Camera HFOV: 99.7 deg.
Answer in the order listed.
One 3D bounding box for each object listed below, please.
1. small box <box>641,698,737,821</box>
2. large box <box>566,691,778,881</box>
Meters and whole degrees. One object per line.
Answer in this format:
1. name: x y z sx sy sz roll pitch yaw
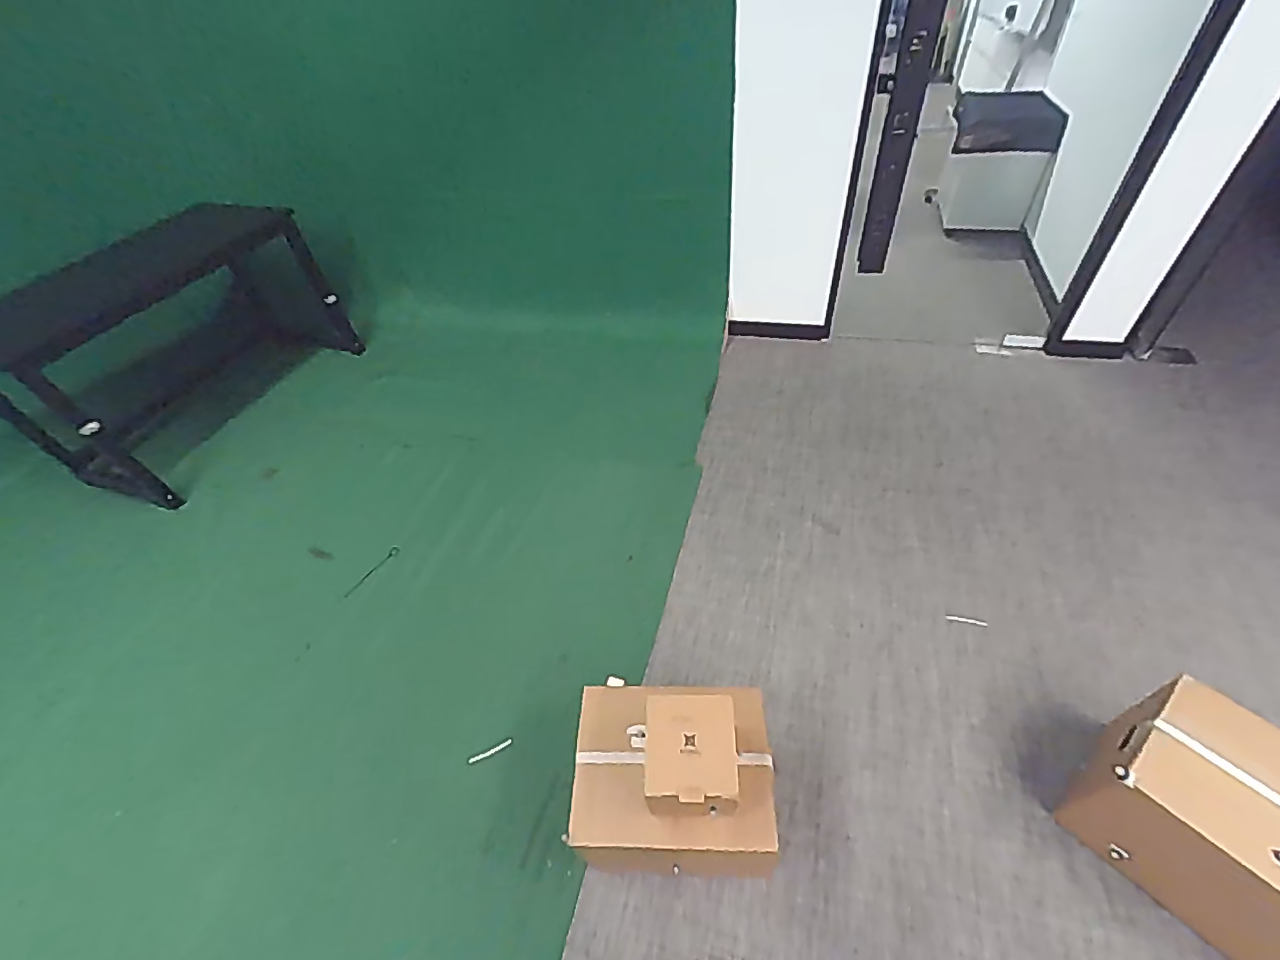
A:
1. small box: 0.096 0.532 1.026 0.168 0.176 0.179 -2 47 5
2. large box: 0.077 0.693 1.216 0.408 0.320 0.320 -3 45 6
